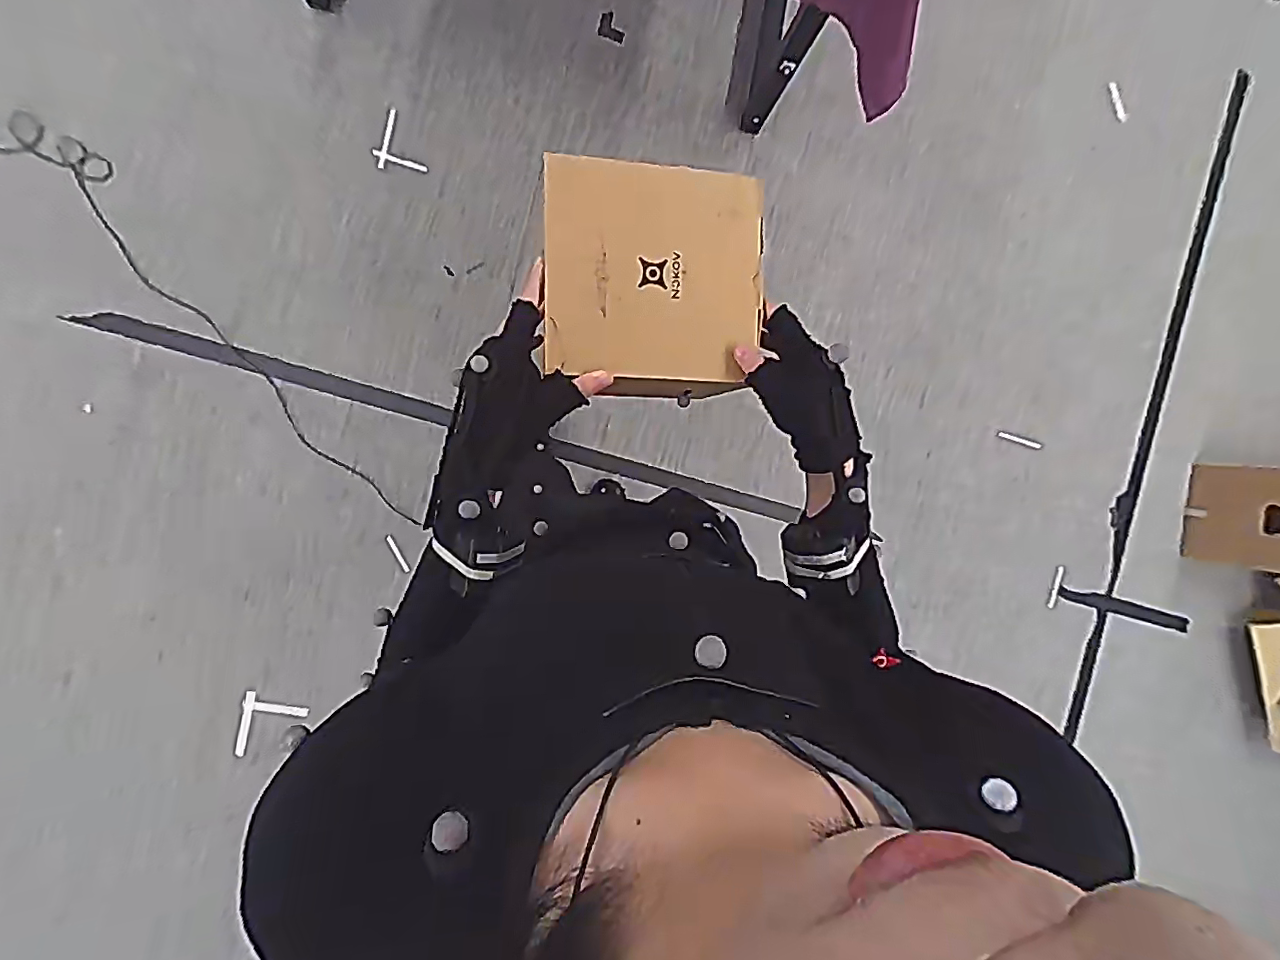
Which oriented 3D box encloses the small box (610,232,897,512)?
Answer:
[{"bbox_3d":[0.113,-0.100,0.492,0.176,0.168,0.179,-40,103,-49],"label":"small box"}]
